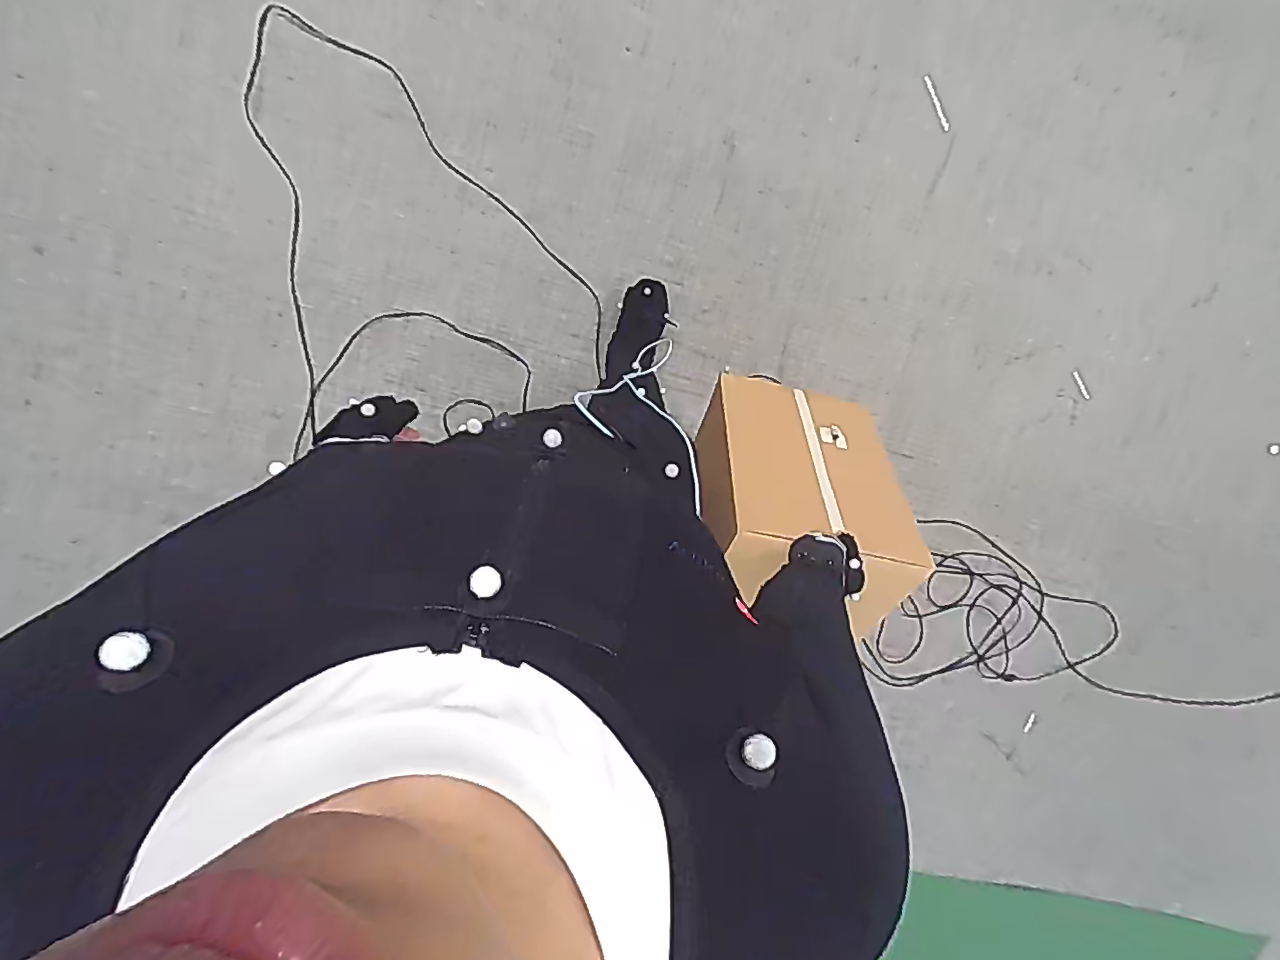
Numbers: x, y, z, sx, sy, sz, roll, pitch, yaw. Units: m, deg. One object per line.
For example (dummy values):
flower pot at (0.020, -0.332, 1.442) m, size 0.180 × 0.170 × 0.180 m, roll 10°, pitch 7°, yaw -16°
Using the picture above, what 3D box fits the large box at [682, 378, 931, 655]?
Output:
large box at (0.268, 0.068, 1.038) m, size 0.320 × 0.408 × 0.320 m, roll 12°, pitch 133°, yaw -8°
